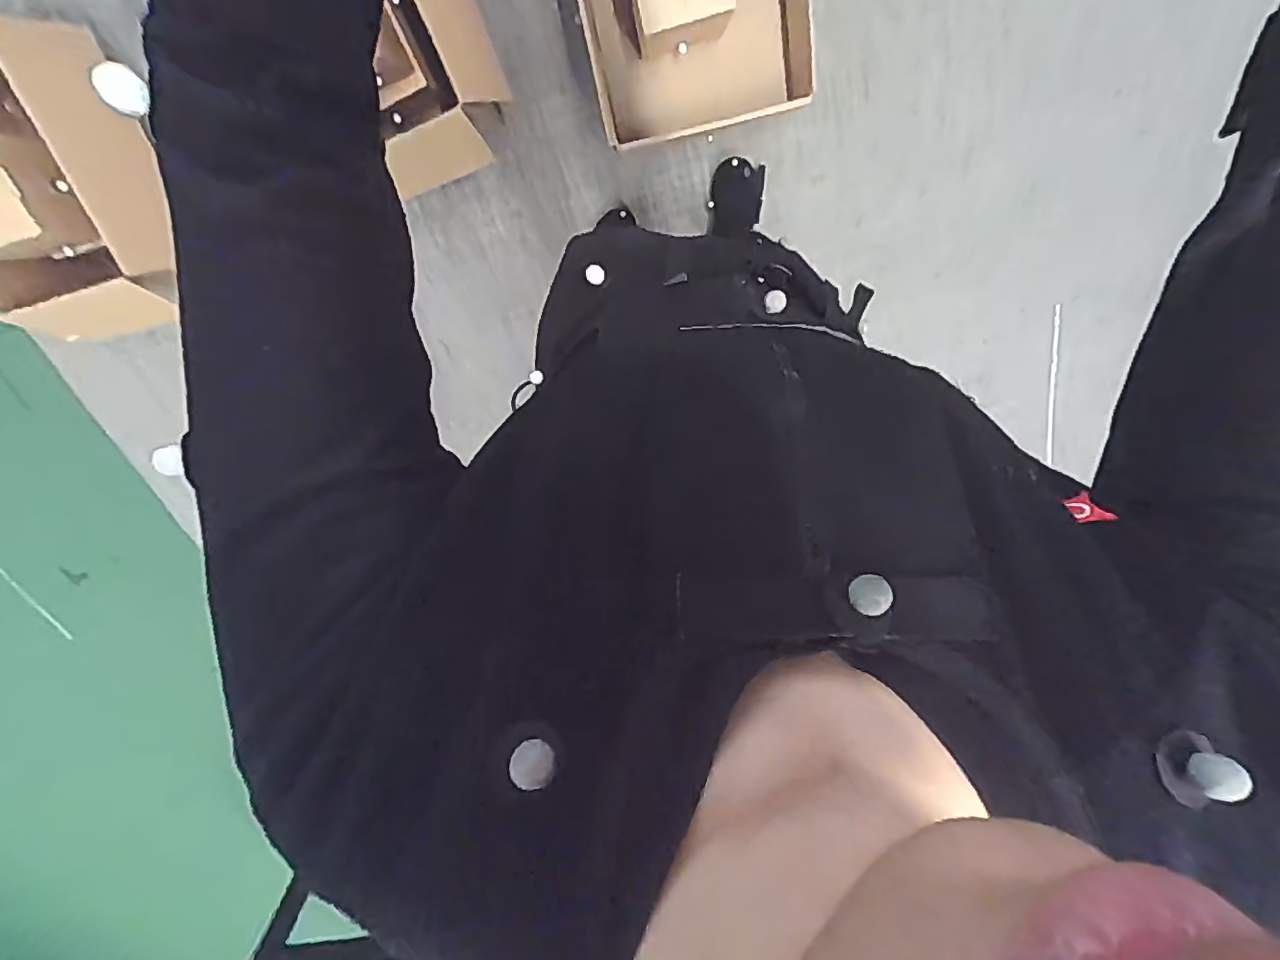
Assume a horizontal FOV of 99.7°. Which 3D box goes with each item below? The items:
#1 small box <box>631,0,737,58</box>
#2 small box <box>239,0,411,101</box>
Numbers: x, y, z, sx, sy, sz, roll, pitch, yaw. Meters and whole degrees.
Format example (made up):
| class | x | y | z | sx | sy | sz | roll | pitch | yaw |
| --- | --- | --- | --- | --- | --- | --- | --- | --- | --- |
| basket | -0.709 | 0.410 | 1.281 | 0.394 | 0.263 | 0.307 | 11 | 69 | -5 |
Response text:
| class | x | y | z | sx | sy | sz | roll | pitch | yaw |
| --- | --- | --- | --- | --- | --- | --- | --- | --- | --- |
| small box | 0.066 | -0.894 | 0.958 | 0.168 | 0.176 | 0.179 | -12 | 116 | 5 |
| small box | -0.508 | -0.747 | 0.880 | 0.168 | 0.176 | 0.179 | -19 | 117 | 8 |
